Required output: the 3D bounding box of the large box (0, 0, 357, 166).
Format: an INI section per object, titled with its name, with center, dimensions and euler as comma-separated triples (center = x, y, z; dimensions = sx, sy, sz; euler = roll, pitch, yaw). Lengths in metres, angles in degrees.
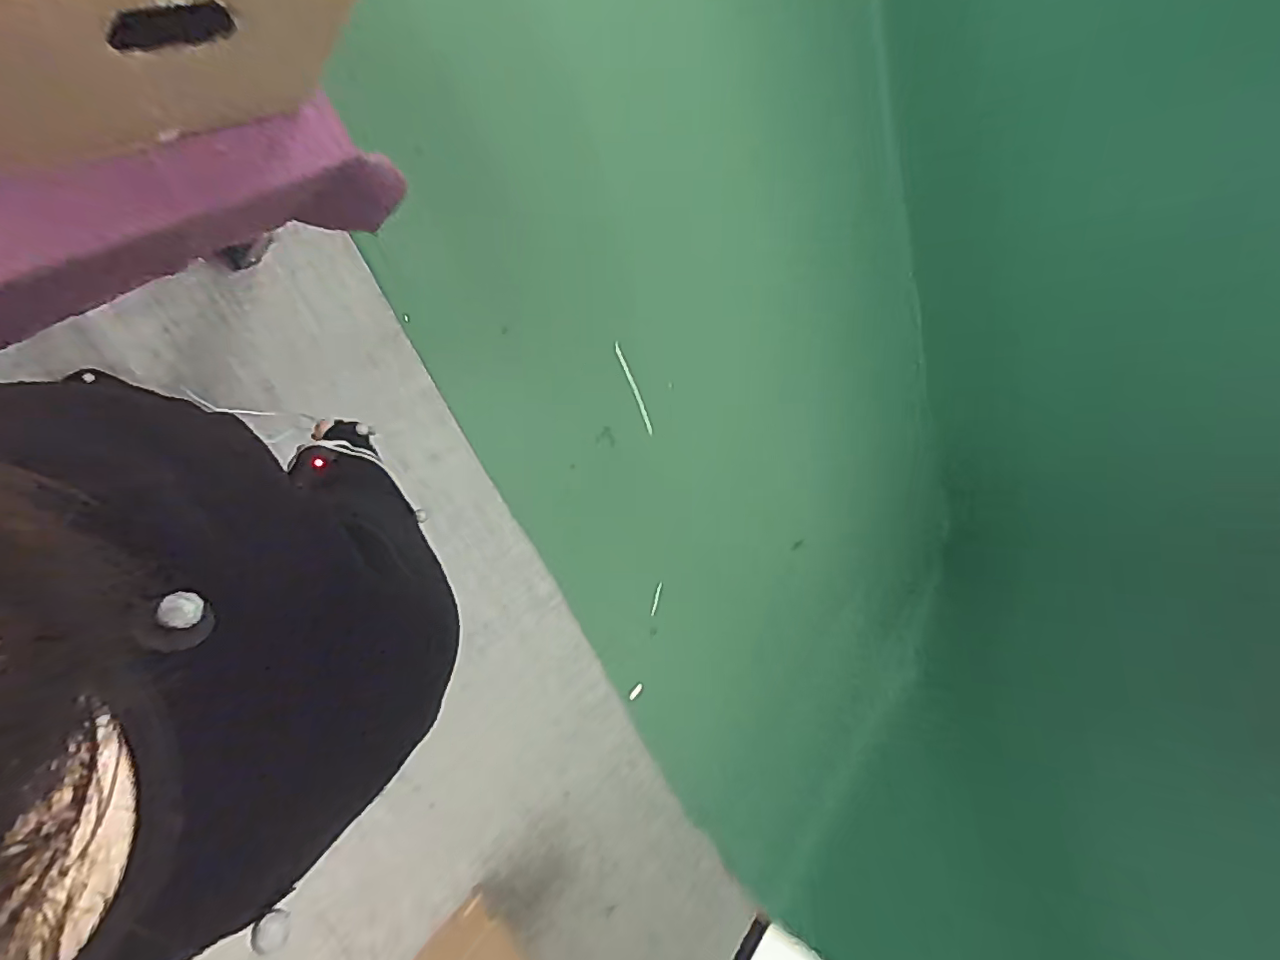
[large box]
center = -0.486, -0.524, 0.391
dimensions = 0.320, 0.320, 0.408
euler = -42, 122, -31
